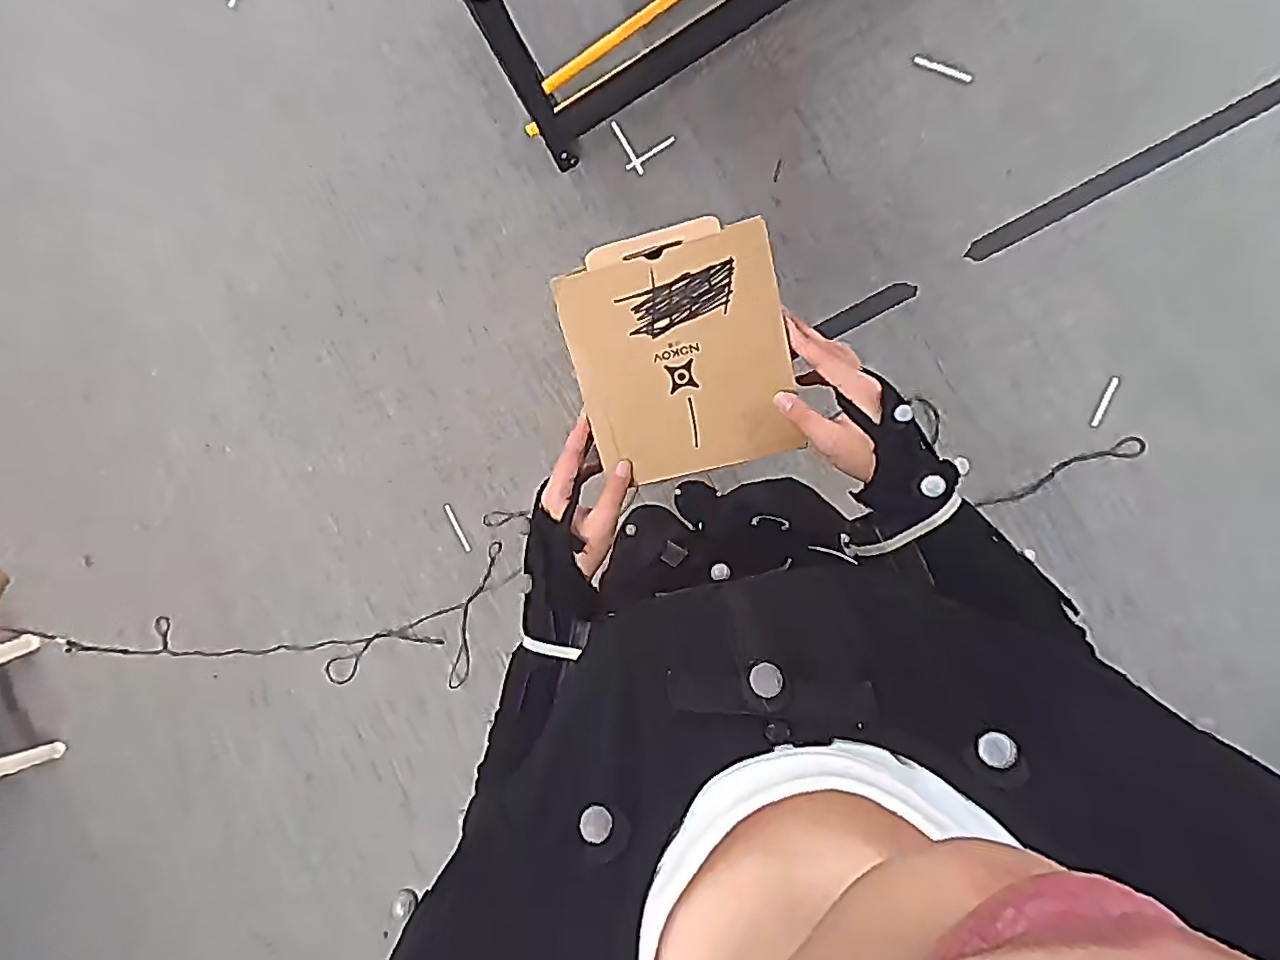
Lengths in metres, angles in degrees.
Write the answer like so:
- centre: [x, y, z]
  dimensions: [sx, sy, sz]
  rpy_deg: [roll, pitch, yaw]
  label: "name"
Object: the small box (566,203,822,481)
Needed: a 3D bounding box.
- centre: [0.049, -0.116, 0.483]
  dimensions: [0.168, 0.176, 0.179]
  rpy_deg: [-12, 104, 9]
  label: "small box"
